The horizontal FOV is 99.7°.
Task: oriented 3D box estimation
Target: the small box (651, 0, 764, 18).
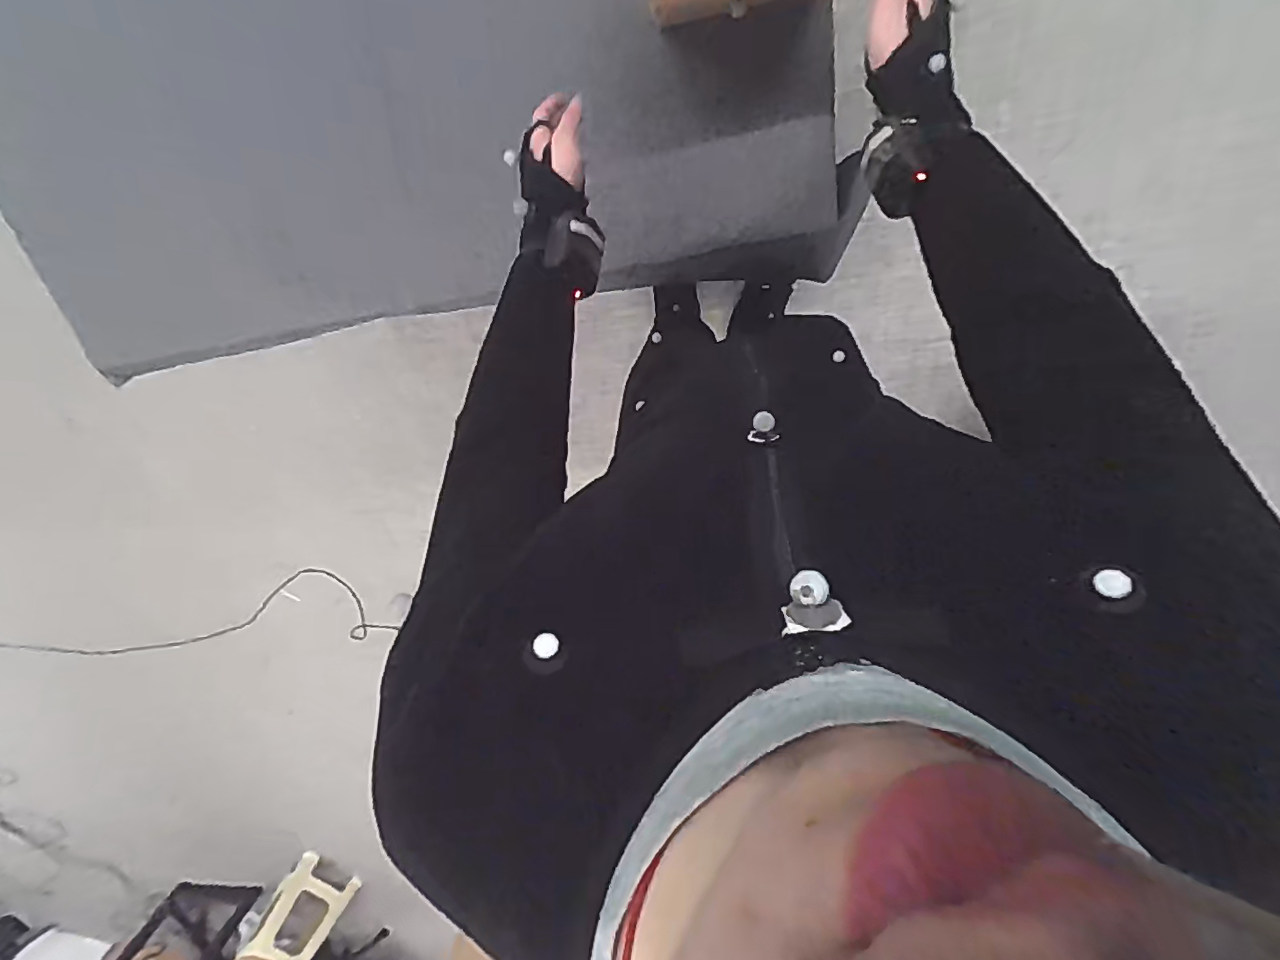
[{"bbox_3d":[0.084,-0.553,0.482,0.179,0.176,0.168,-4,115,9],"label":"small box"}]
